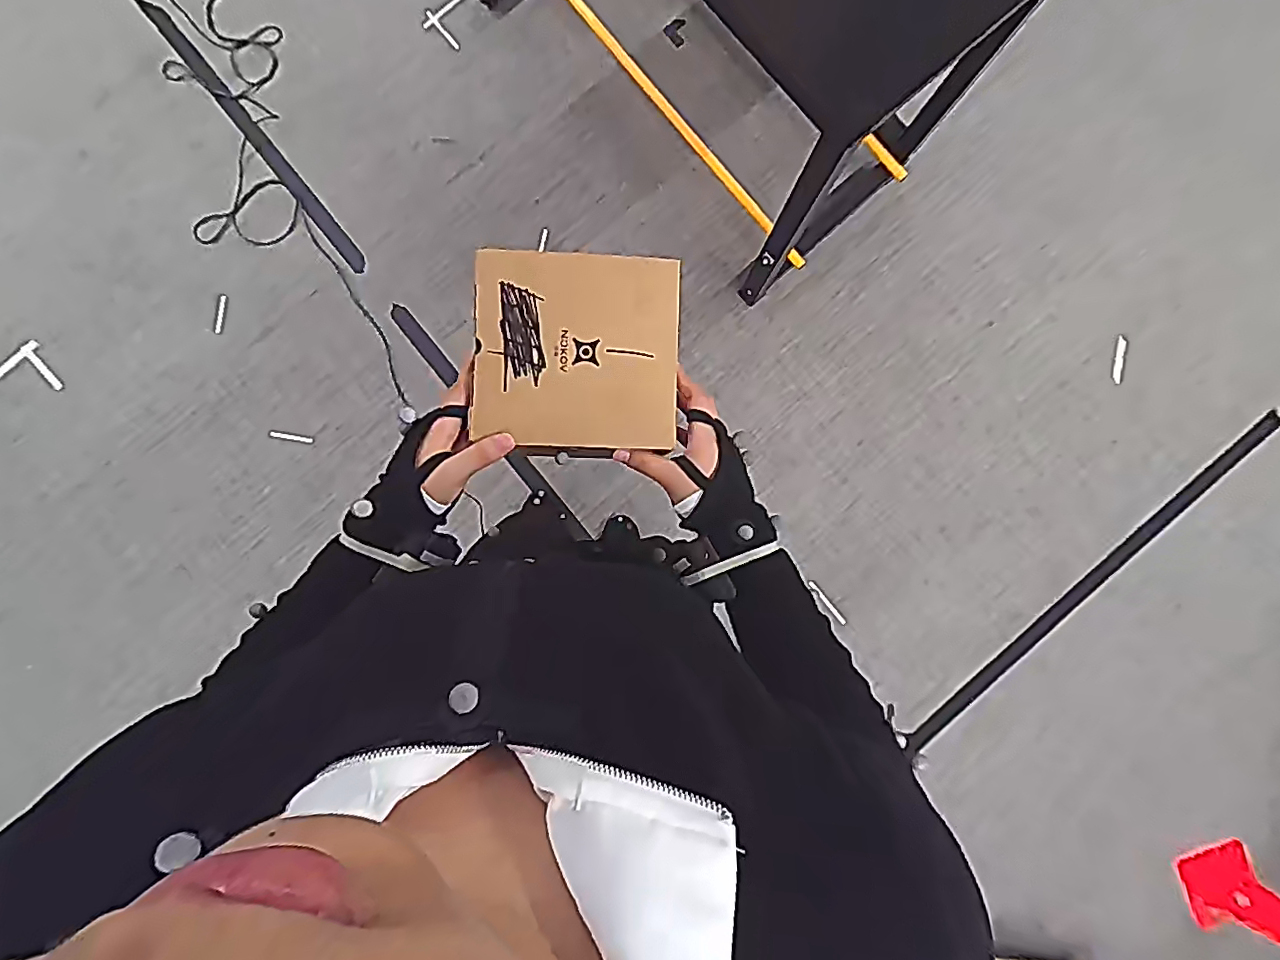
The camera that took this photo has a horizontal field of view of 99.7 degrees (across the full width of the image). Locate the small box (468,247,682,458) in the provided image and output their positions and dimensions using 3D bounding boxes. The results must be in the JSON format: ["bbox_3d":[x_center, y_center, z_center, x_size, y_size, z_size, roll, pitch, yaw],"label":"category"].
[{"bbox_3d":[-0.058,-0.110,0.534,0.179,0.176,0.168,2,89,-4],"label":"small box"}]
